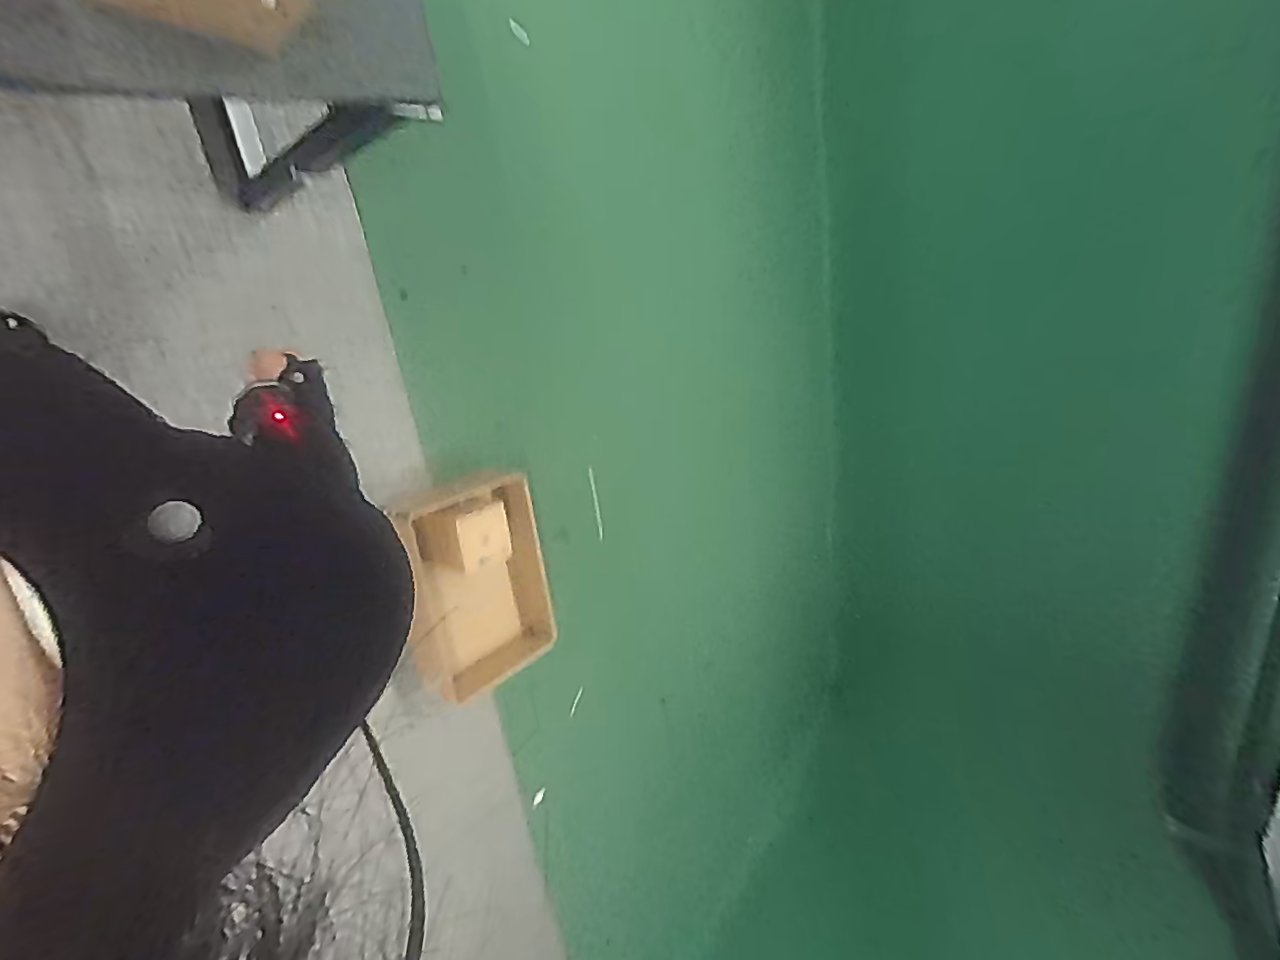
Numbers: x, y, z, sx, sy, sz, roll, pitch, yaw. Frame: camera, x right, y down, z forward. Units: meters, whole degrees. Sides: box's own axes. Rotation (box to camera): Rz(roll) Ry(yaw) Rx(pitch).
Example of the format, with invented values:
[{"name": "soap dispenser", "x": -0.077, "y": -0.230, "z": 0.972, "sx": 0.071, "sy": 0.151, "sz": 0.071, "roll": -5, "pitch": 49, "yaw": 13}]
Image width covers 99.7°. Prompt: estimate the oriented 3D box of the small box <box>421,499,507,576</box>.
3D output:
[{"name": "small box", "x": -0.524, "y": 0.162, "z": 1.599, "sx": 0.168, "sy": 0.176, "sz": 0.179, "roll": -24, "pitch": 113, "yaw": -46}]
